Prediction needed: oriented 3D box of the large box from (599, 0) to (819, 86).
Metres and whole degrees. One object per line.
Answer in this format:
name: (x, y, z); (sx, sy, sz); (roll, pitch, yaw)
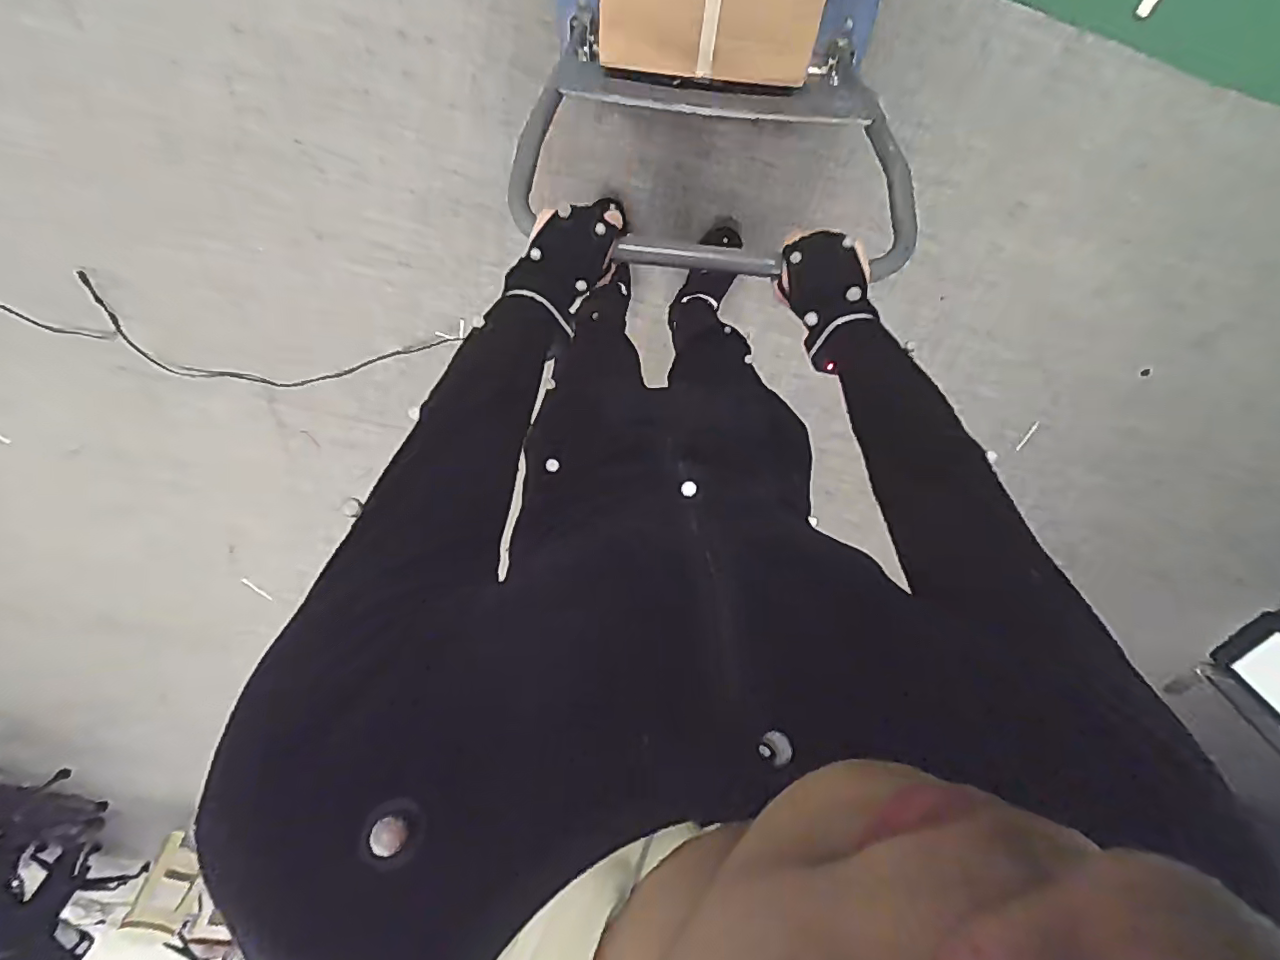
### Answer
large box: (0.116, -0.860, 0.785); (0.320, 0.320, 0.408); (6, 138, 0)
